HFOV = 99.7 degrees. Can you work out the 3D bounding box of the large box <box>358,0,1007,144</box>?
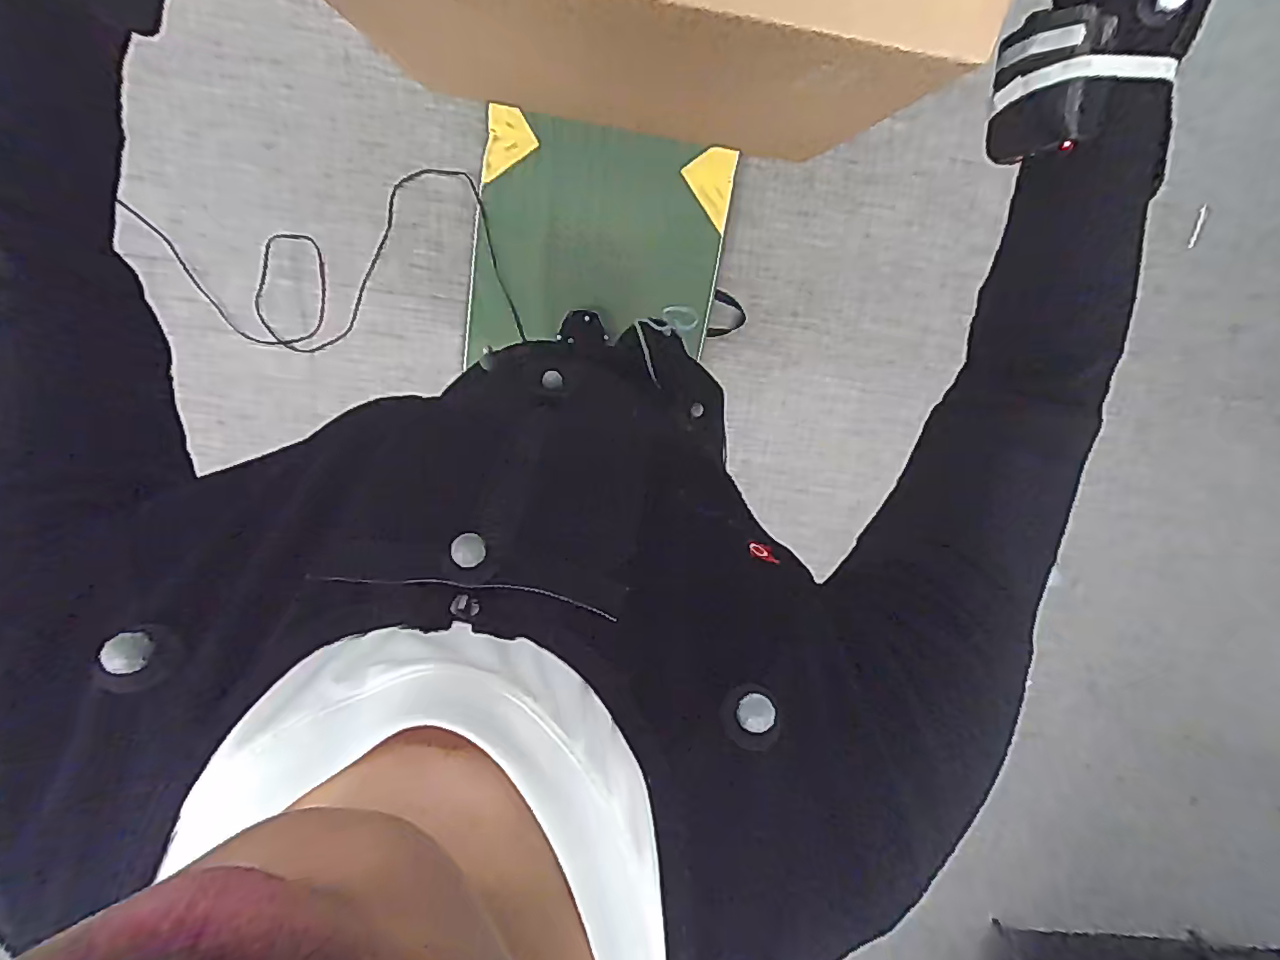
[{"bbox_3d":[0.014,-0.462,0.366,0.408,0.320,0.320,7,112,-6],"label":"large box"}]
